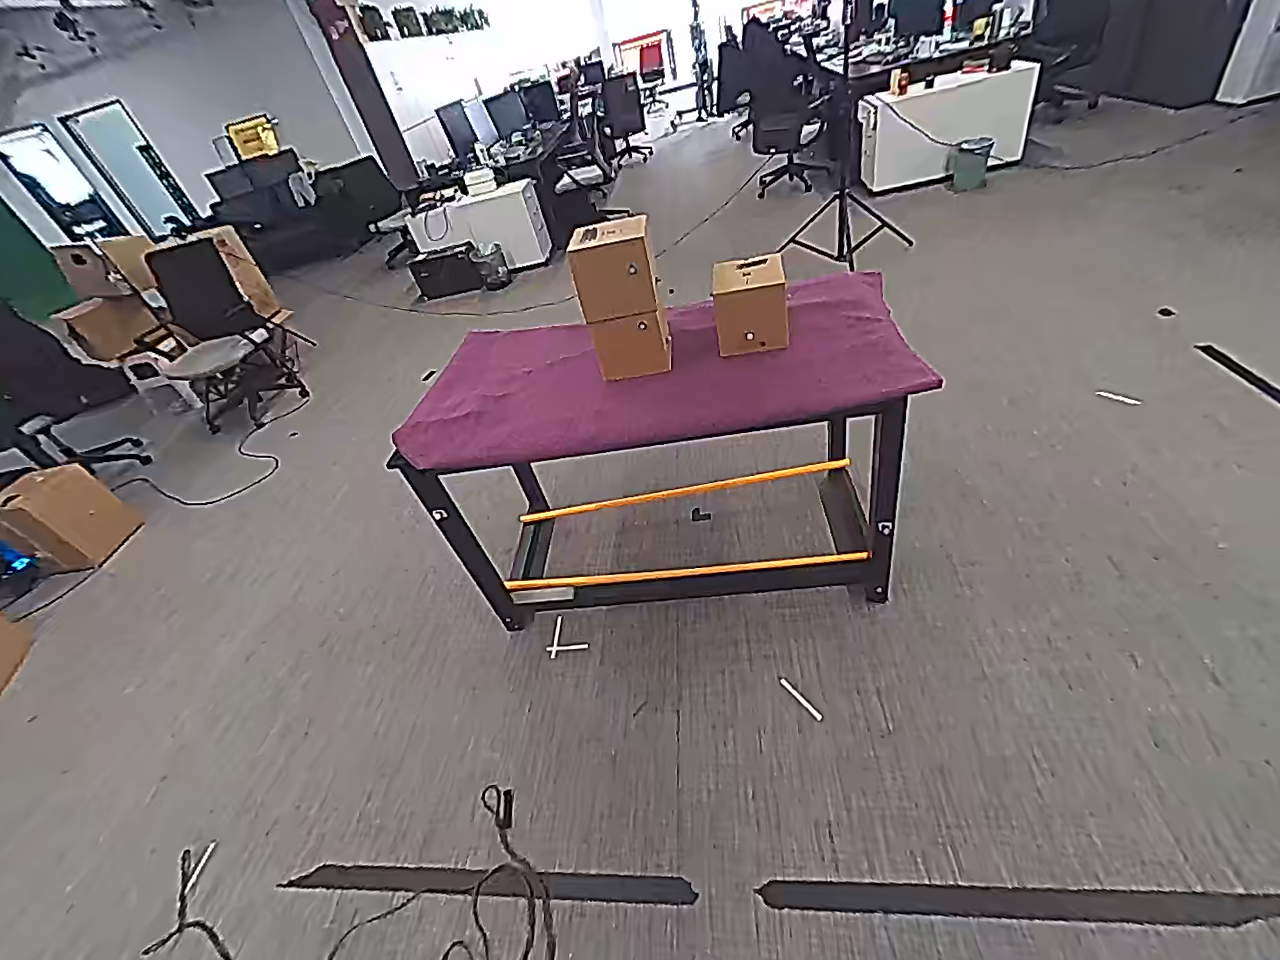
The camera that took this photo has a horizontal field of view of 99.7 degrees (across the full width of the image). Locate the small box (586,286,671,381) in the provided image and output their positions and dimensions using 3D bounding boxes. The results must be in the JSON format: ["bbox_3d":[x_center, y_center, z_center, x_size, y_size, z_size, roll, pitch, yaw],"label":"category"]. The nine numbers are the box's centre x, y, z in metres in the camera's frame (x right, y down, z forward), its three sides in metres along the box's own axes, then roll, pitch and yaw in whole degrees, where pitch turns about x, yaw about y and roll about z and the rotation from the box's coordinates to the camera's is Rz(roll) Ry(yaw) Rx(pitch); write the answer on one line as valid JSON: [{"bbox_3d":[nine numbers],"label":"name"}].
[{"bbox_3d":[-0.023,-0.368,1.374,0.179,0.176,0.168,-7,40,10],"label":"small box"}]

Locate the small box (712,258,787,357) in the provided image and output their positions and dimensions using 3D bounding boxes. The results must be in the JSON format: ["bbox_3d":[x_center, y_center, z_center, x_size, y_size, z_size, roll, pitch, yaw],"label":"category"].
[{"bbox_3d":[0.273,-0.424,1.335,0.168,0.176,0.179,-5,41,14],"label":"small box"}]
